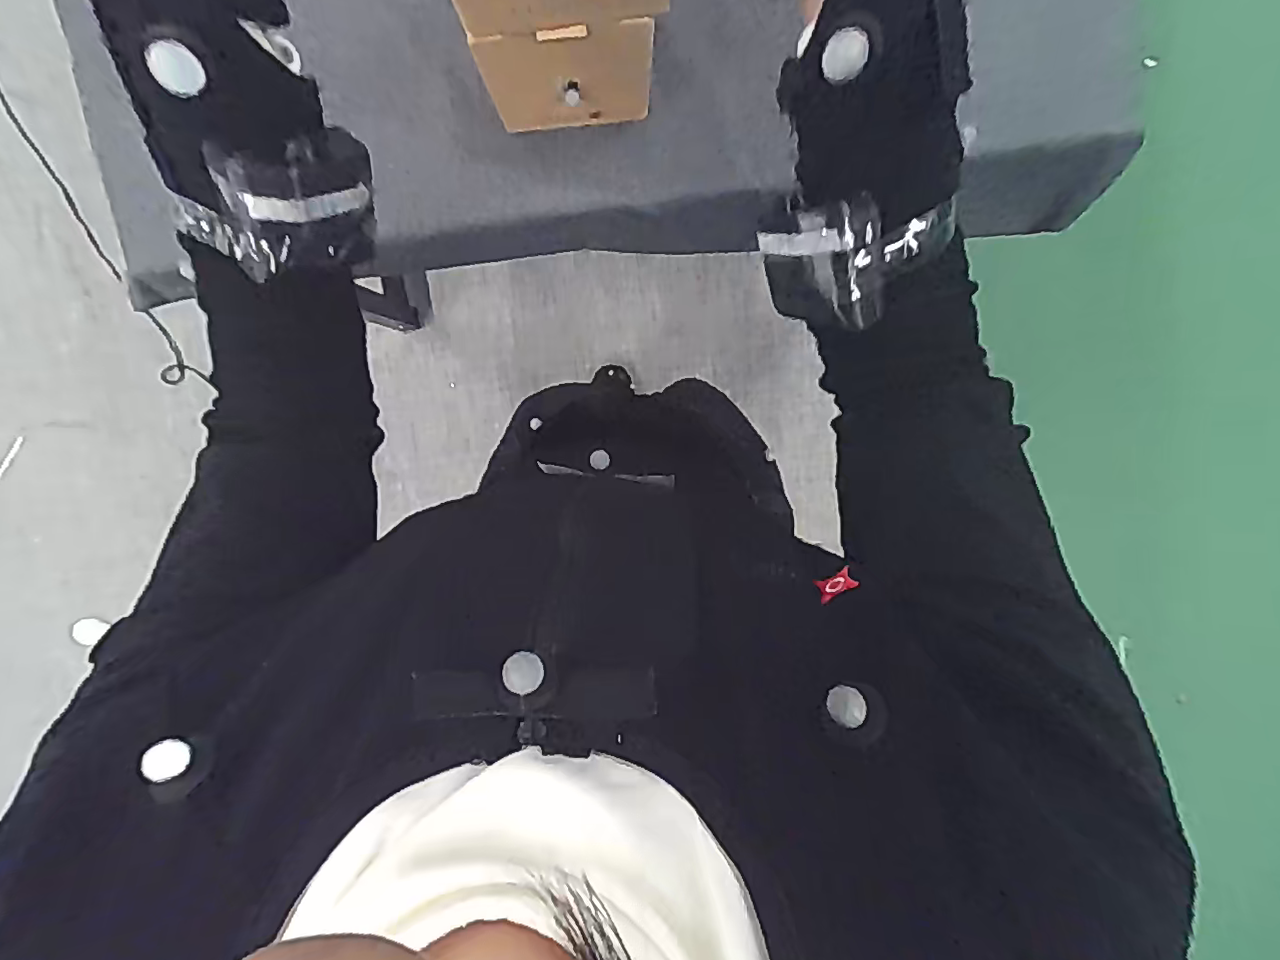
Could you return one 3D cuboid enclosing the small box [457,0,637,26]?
[{"bbox_3d":[-0.072,-0.462,0.368,0.179,0.176,0.168,-7,99,2],"label":"small box"}]

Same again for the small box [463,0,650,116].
[{"bbox_3d":[-0.079,-0.490,0.531,0.168,0.176,0.179,-7,99,1],"label":"small box"}]
